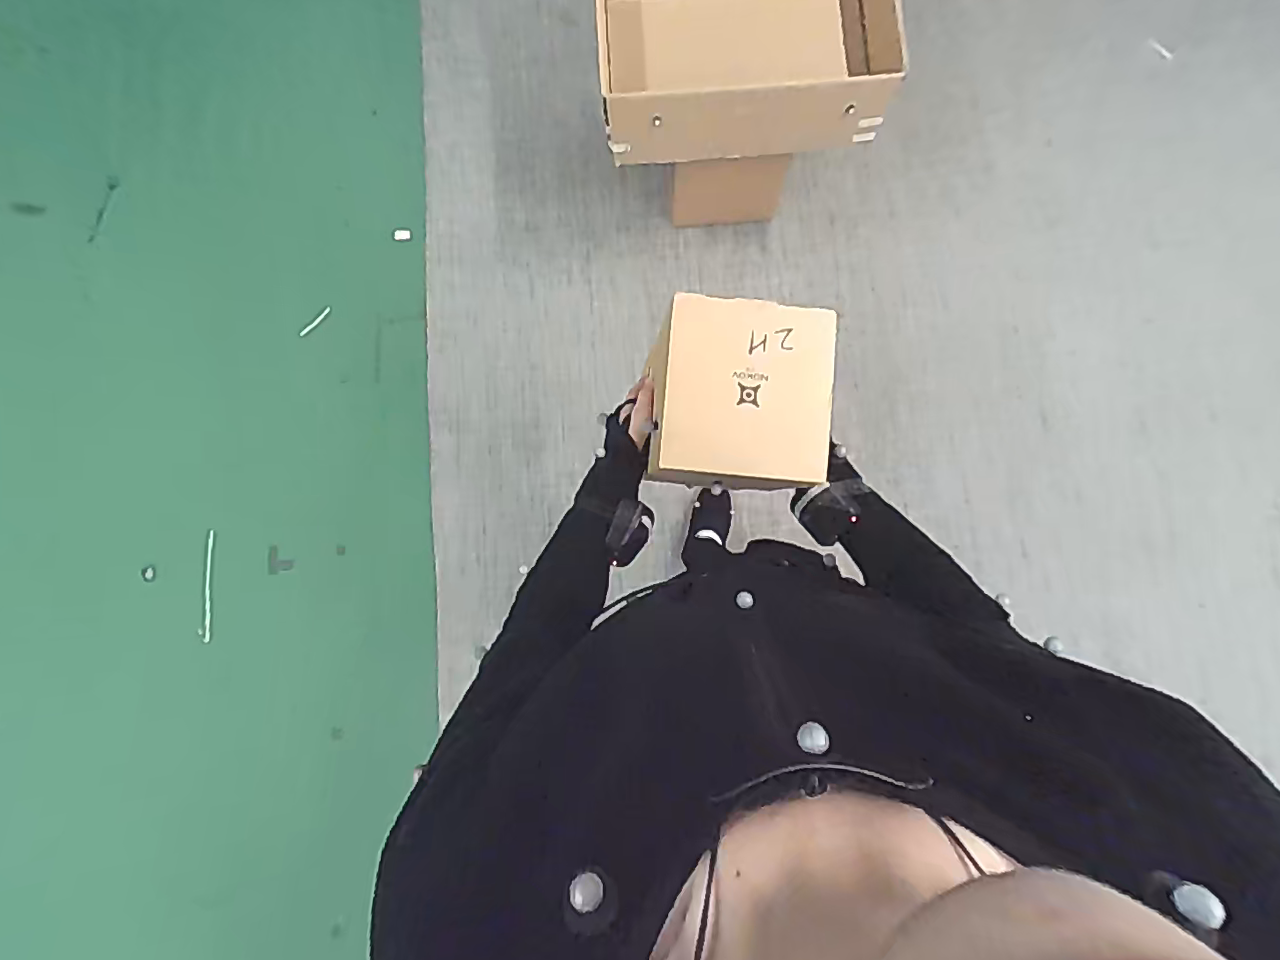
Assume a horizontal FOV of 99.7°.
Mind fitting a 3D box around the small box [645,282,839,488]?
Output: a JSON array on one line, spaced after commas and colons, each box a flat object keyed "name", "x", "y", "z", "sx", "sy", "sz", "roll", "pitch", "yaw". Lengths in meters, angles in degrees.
[{"name": "small box", "x": 0.097, "y": -0.087, "z": 0.589, "sx": 0.168, "sy": 0.176, "sz": 0.179, "roll": 6, "pitch": 84, "yaw": -4}]

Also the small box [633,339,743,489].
[{"name": "small box", "x": 0.085, "y": -0.080, "z": 0.753, "sx": 0.179, "sy": 0.176, "sz": 0.168, "roll": 7, "pitch": 85, "yaw": -4}]
